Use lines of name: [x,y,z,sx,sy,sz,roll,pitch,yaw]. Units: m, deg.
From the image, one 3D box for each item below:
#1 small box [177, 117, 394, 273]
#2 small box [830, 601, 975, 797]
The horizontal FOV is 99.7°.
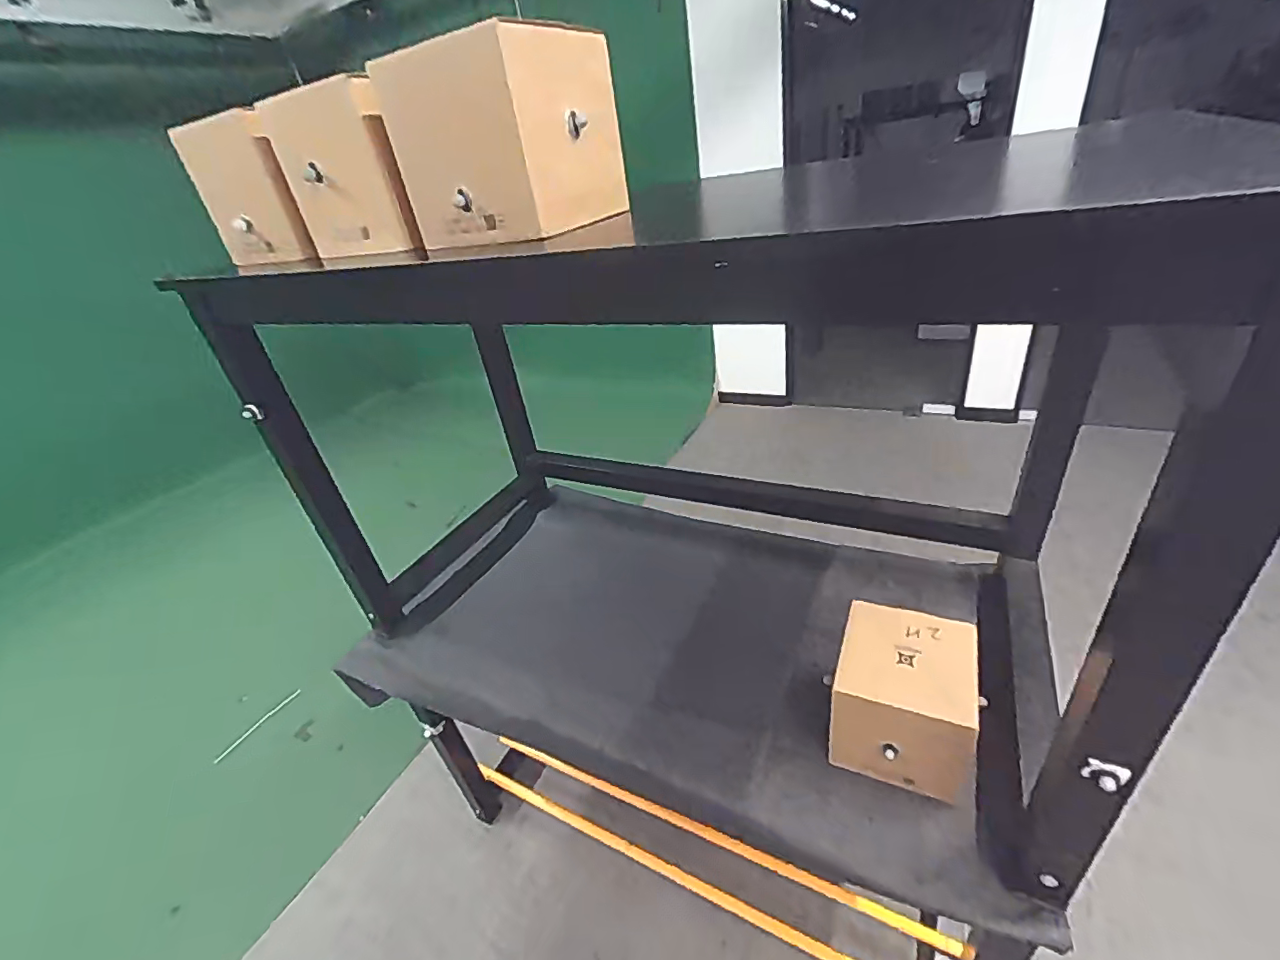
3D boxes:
small box: [-0.481,-0.400,0.767,0.168,0.176,0.179,8,36,27]
small box: [0.372,0.307,0.772,0.168,0.176,0.179,8,34,27]
